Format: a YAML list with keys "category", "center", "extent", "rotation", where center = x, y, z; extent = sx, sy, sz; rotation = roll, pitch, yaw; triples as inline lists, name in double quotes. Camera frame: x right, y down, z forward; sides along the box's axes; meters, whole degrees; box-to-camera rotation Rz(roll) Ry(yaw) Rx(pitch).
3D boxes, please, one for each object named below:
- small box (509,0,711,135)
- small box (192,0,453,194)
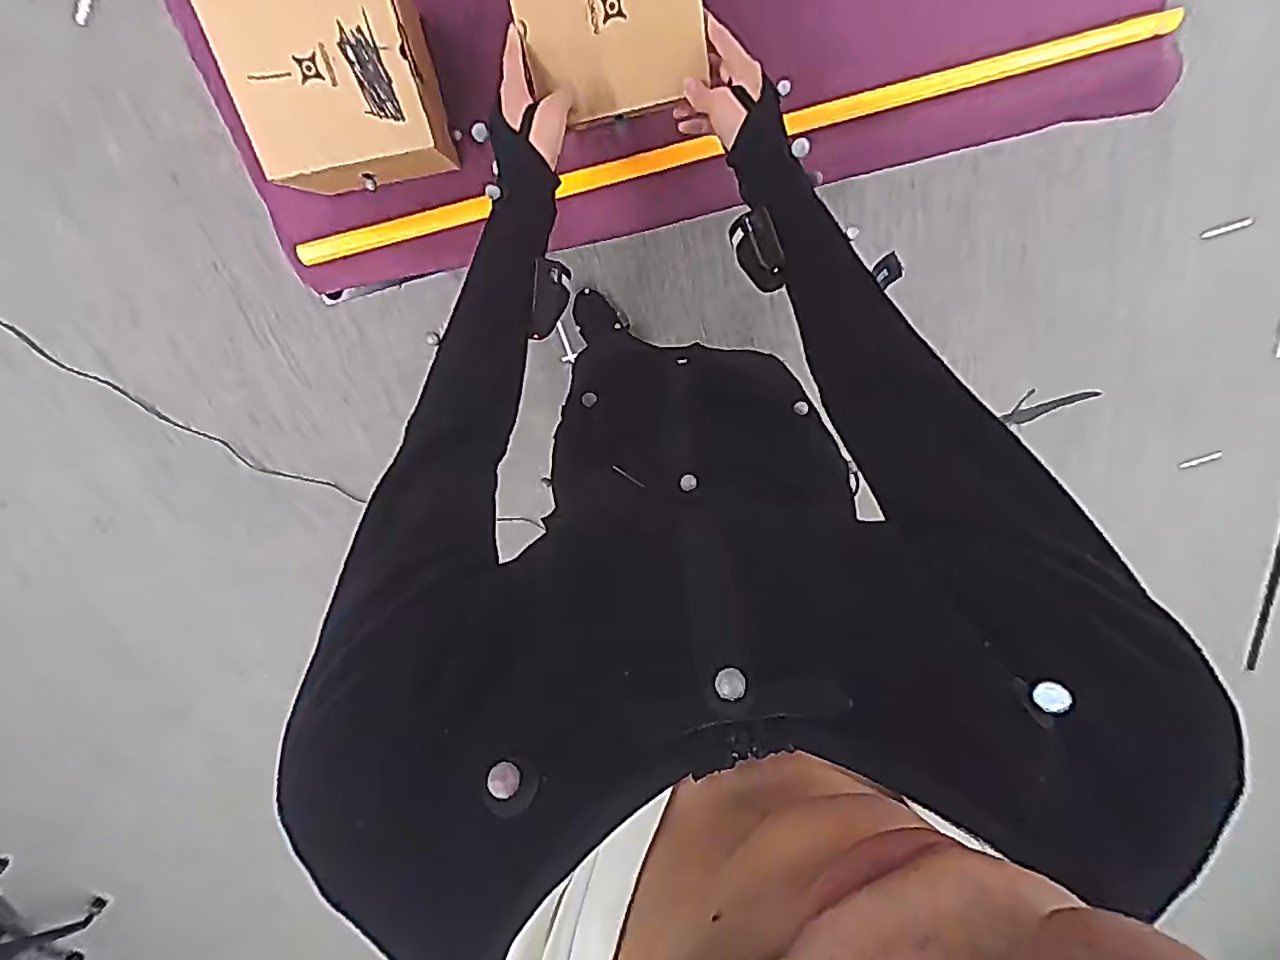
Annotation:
- category: "small box"
  center: [-0.034, -0.475, 0.562]
  extent: [0.179, 0.176, 0.168]
  rotation: [-11, 122, 5]
- category: "small box"
  center: [-0.317, -0.423, 0.589]
  extent: [0.179, 0.176, 0.168]
  rotation: [-13, 114, -3]
